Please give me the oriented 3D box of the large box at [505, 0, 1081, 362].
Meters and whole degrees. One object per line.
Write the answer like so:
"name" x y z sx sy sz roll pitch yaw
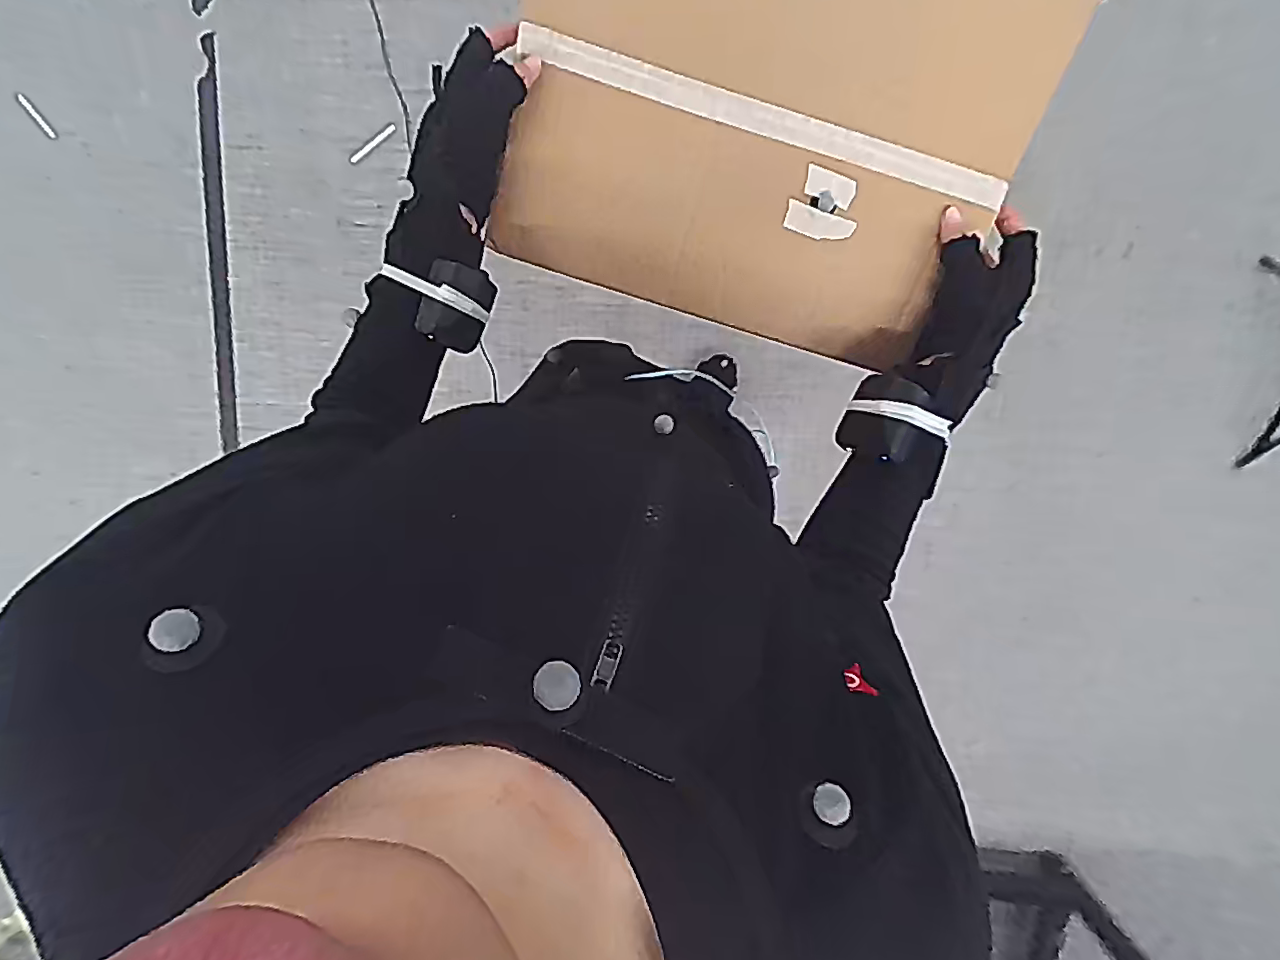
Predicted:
"large box" 0.110 -0.351 0.581 0.408 0.320 0.320 16 113 -4
